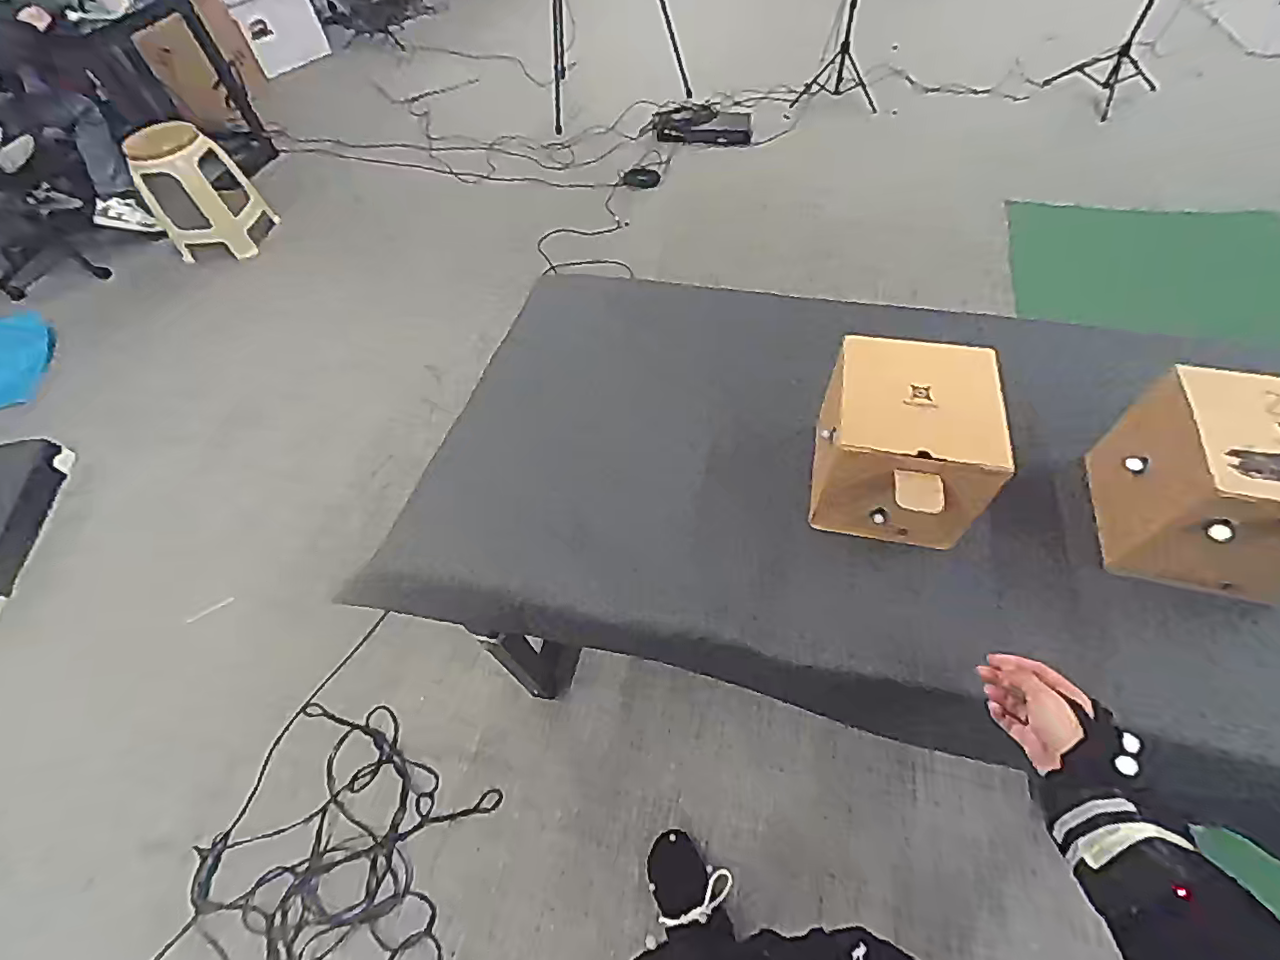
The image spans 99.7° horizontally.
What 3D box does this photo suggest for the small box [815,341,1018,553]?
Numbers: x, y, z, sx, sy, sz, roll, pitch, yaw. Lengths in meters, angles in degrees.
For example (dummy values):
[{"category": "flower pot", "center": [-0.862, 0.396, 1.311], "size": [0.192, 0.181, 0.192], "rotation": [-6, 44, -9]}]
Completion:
[{"category": "small box", "center": [0.313, -0.038, 0.650], "size": [0.168, 0.176, 0.179], "rotation": [9, 56, 11]}]
